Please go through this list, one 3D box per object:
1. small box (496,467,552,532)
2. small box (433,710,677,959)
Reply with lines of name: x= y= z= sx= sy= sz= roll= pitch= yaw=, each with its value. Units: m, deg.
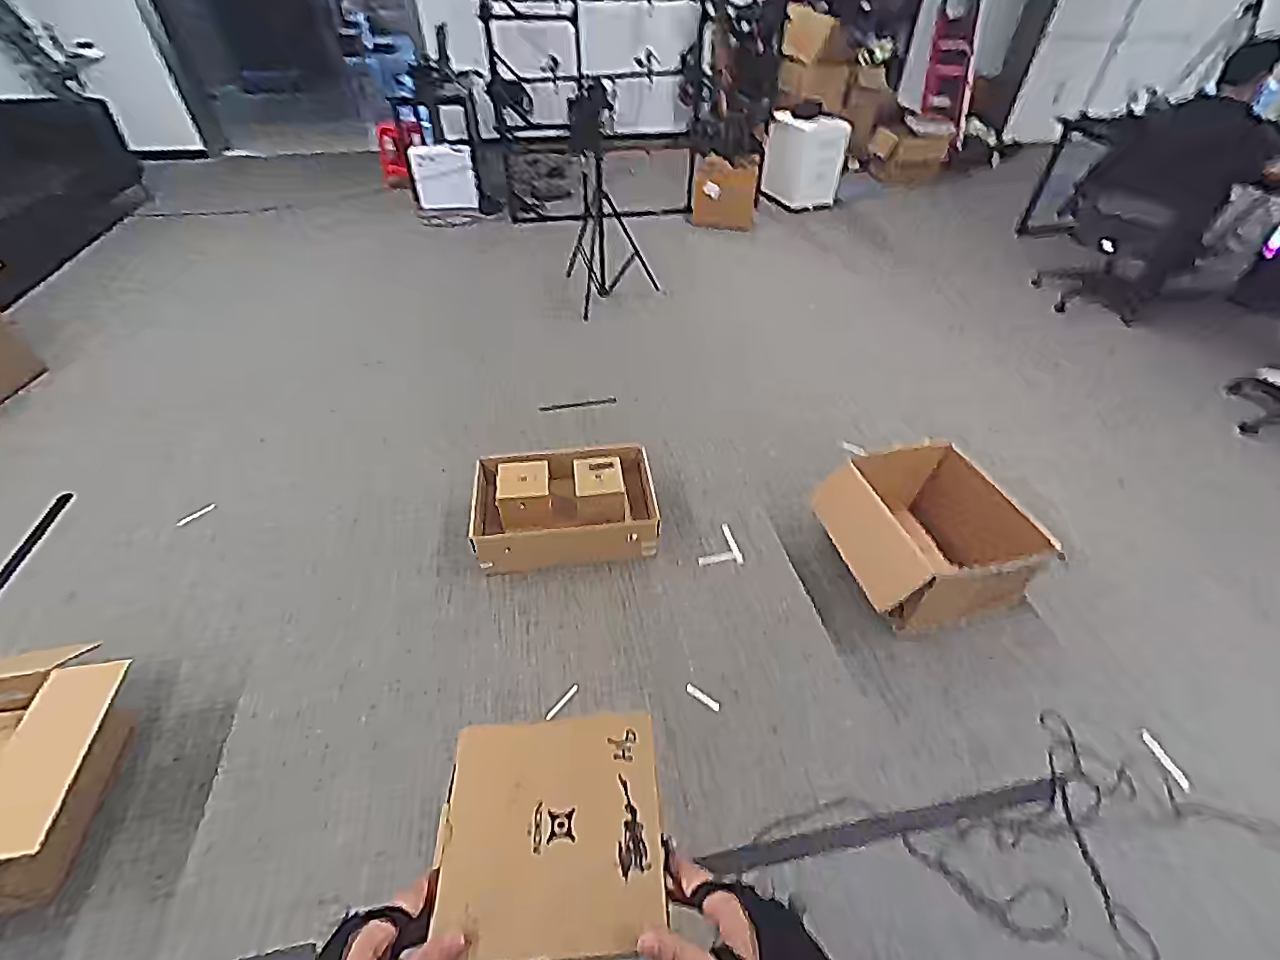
small box: x=-0.409 y=0.073 z=1.930 sx=0.179 sy=0.176 sz=0.168 roll=-4 pitch=46 yaw=-7
small box: x=-0.062 y=0.332 z=0.499 sx=0.179 sy=0.176 sz=0.168 roll=-6 pitch=47 yaw=0
